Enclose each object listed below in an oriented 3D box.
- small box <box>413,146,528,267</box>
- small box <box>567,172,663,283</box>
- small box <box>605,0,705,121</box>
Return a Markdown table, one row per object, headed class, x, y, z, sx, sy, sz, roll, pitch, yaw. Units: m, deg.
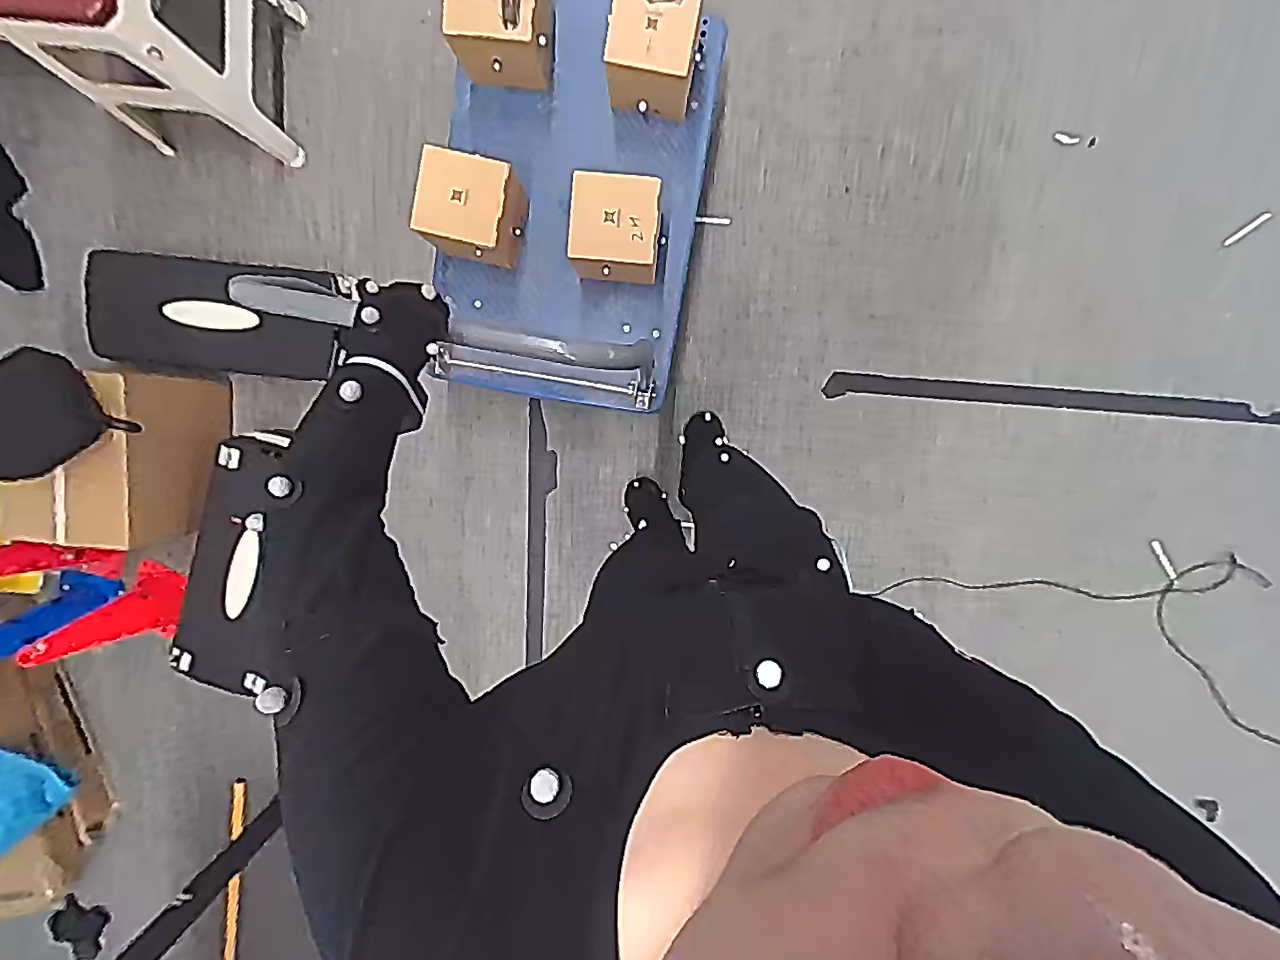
| class | x | y | z | sx | sy | sz | roll | pitch | yaw |
| --- | --- | --- | --- | --- | --- | --- | --- | --- | --- |
| small box | -0.353 | -0.570 | 1.150 | 0.179 | 0.176 | 0.168 | 12 | 97 | -1 |
| small box | -0.047 | -0.525 | 1.143 | 0.179 | 0.176 | 0.168 | 6 | 98 | 2 |
| small box | 0.031 | -0.876 | 1.095 | 0.168 | 0.176 | 0.179 | 12 | 99 | 1 |
